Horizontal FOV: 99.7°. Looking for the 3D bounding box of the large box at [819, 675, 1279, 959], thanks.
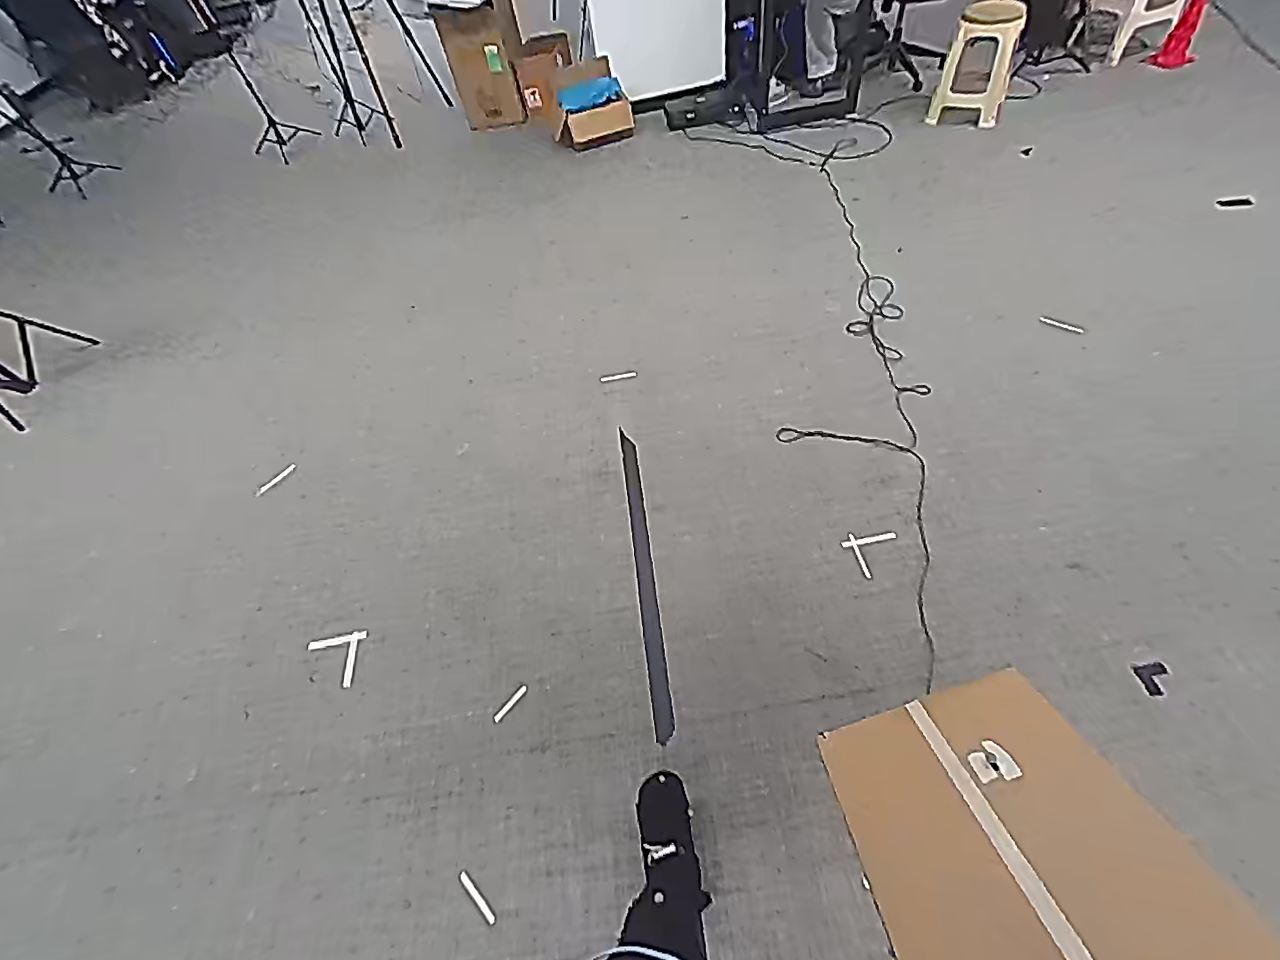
[{"bbox_3d":[0.482,0.542,0.688,0.320,0.320,0.408,-23,15,8],"label":"large box"}]
